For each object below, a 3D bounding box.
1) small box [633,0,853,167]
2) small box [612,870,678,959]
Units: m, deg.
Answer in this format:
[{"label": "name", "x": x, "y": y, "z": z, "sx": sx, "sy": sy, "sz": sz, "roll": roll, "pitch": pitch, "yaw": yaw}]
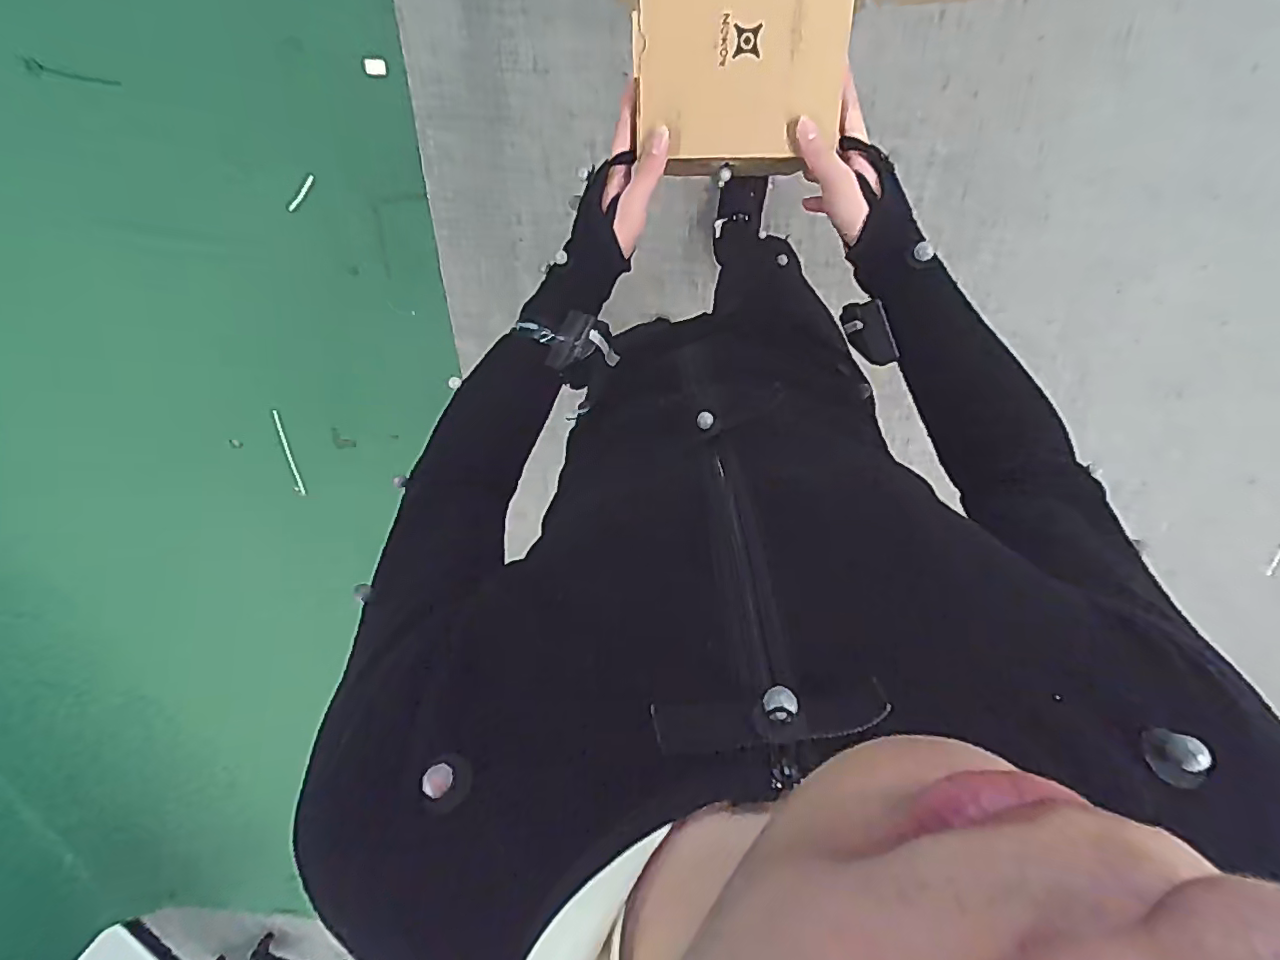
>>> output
[{"label": "small box", "x": 0.085, "y": -0.398, "z": 0.509, "sx": 0.179, "sy": 0.176, "sz": 0.168, "roll": 1, "pitch": 115, "yaw": 1}, {"label": "small box", "x": 0.016, "y": 1.201, "z": 1.468, "sx": 0.168, "sy": 0.176, "sz": 0.179, "roll": 2, "pitch": 118, "yaw": 4}]
